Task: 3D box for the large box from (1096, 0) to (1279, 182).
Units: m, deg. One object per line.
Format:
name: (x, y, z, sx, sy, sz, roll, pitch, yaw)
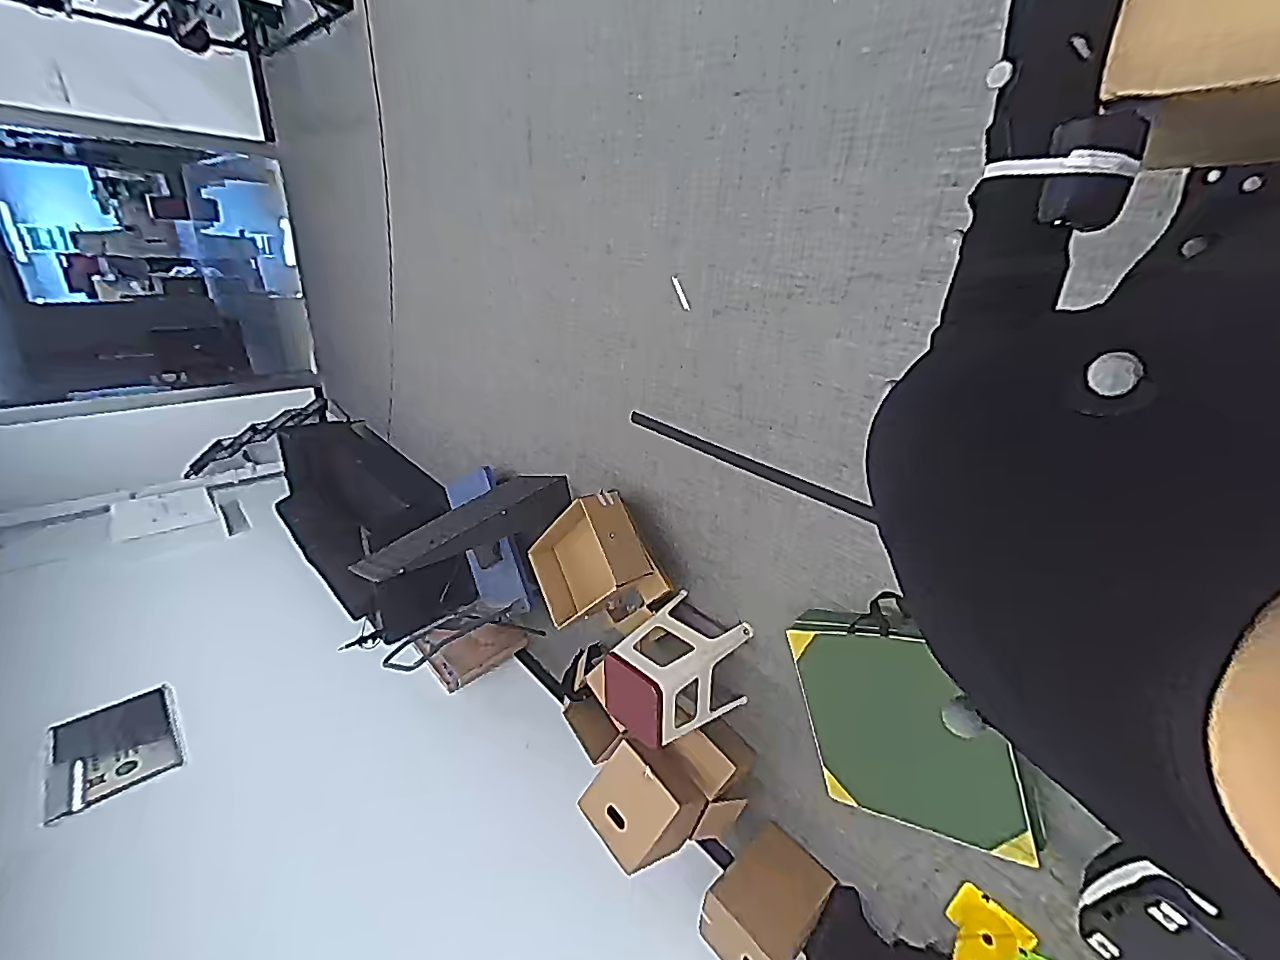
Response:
large box: (0.556, -0.377, 0.298, 0.408, 0.320, 0.320, 19, 117, 39)
